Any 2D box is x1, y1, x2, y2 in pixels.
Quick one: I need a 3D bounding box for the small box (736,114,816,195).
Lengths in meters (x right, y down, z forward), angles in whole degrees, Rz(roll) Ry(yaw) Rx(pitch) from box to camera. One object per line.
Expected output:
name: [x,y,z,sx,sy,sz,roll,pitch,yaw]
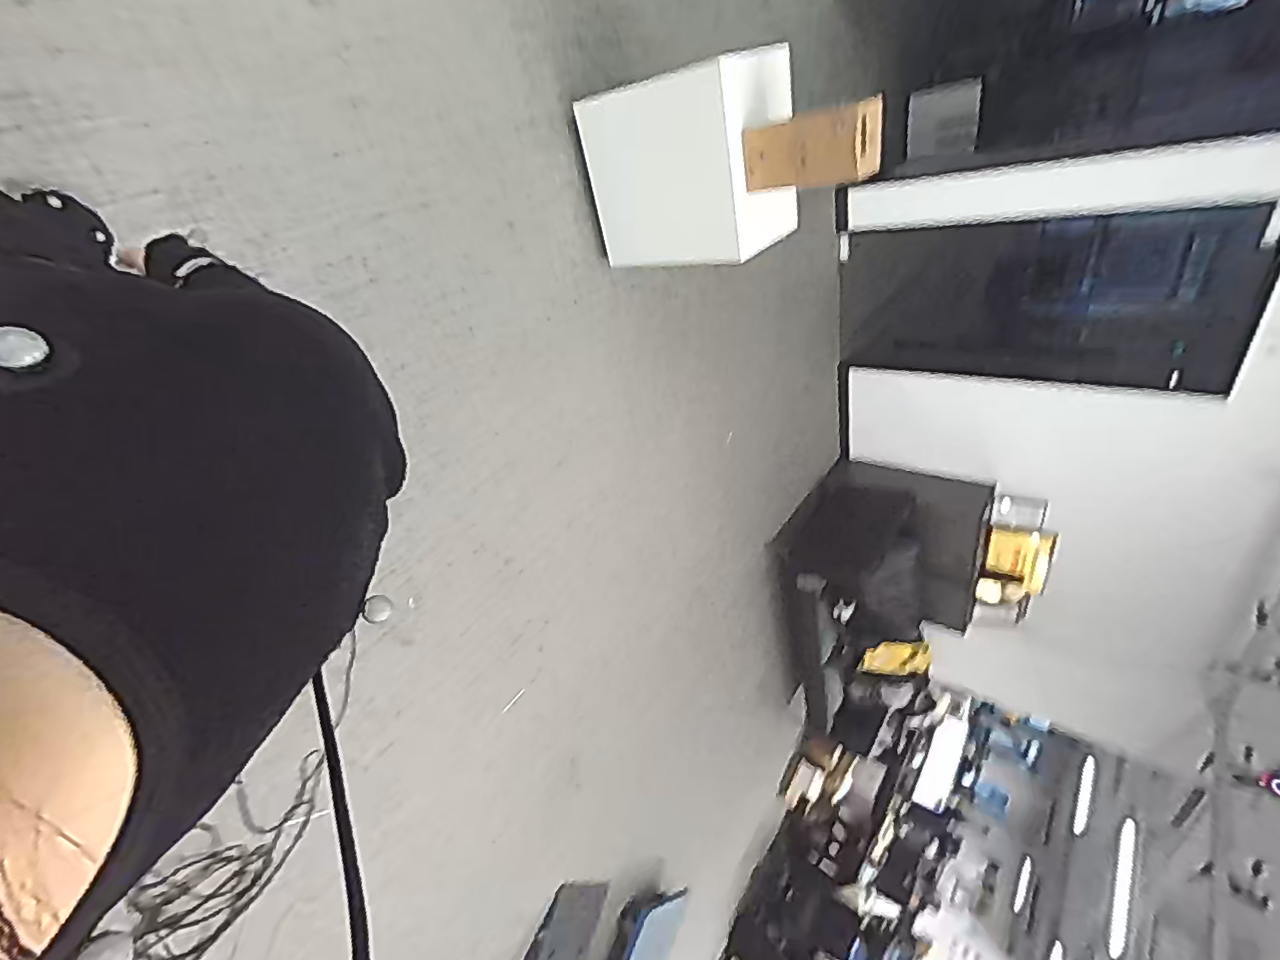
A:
small box: [0.398,-0.943,1.570,0.179,0.176,0.168,-42,132,-36]
